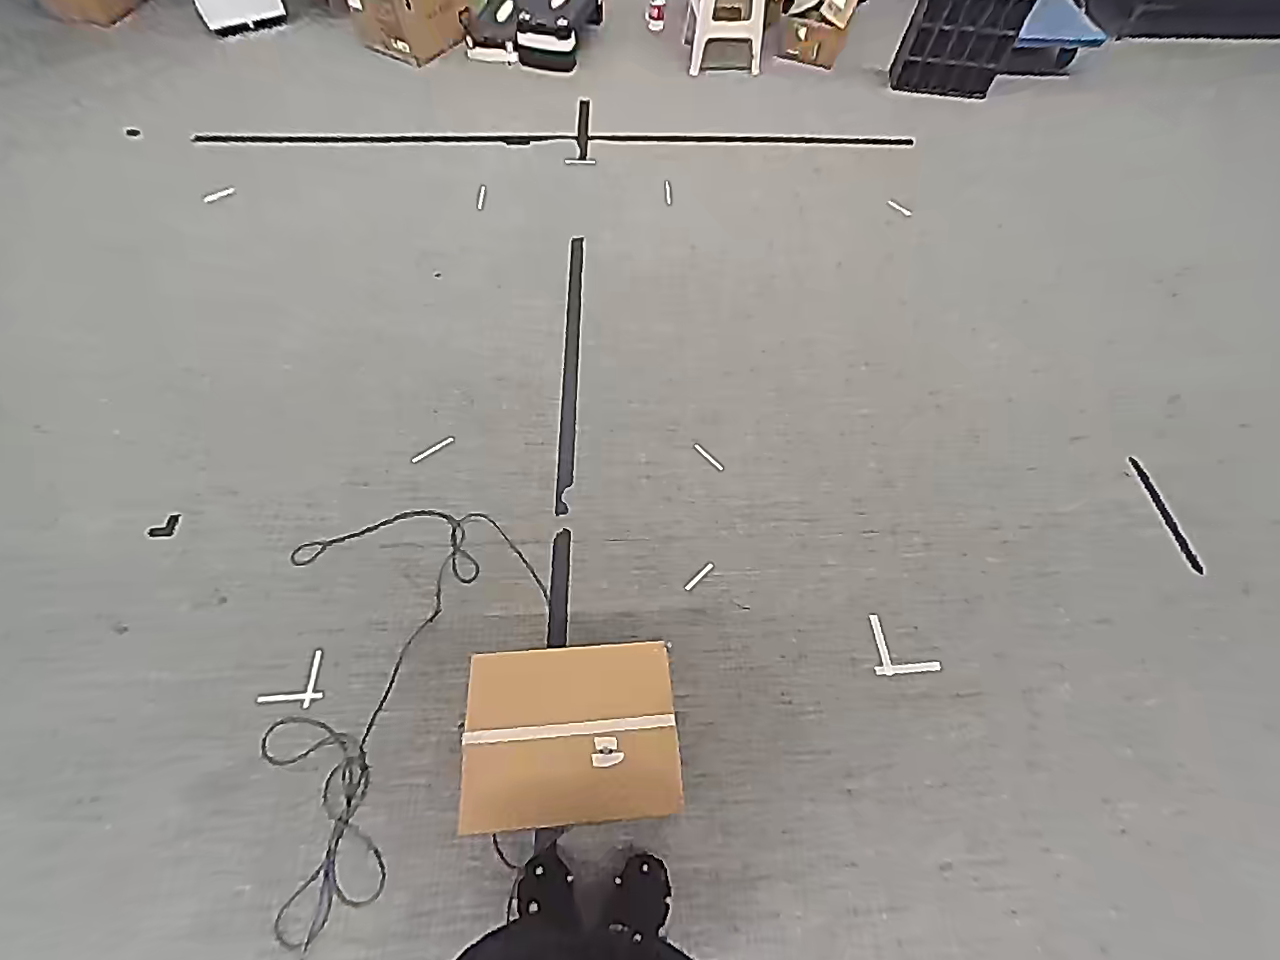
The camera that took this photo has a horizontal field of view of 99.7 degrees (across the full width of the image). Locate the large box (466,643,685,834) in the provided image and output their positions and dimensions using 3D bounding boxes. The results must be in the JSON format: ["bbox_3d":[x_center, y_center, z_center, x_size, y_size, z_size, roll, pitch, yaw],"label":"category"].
[{"bbox_3d":[-0.134,0.566,1.177,0.408,0.320,0.320,-3,58,-4],"label":"large box"}]
